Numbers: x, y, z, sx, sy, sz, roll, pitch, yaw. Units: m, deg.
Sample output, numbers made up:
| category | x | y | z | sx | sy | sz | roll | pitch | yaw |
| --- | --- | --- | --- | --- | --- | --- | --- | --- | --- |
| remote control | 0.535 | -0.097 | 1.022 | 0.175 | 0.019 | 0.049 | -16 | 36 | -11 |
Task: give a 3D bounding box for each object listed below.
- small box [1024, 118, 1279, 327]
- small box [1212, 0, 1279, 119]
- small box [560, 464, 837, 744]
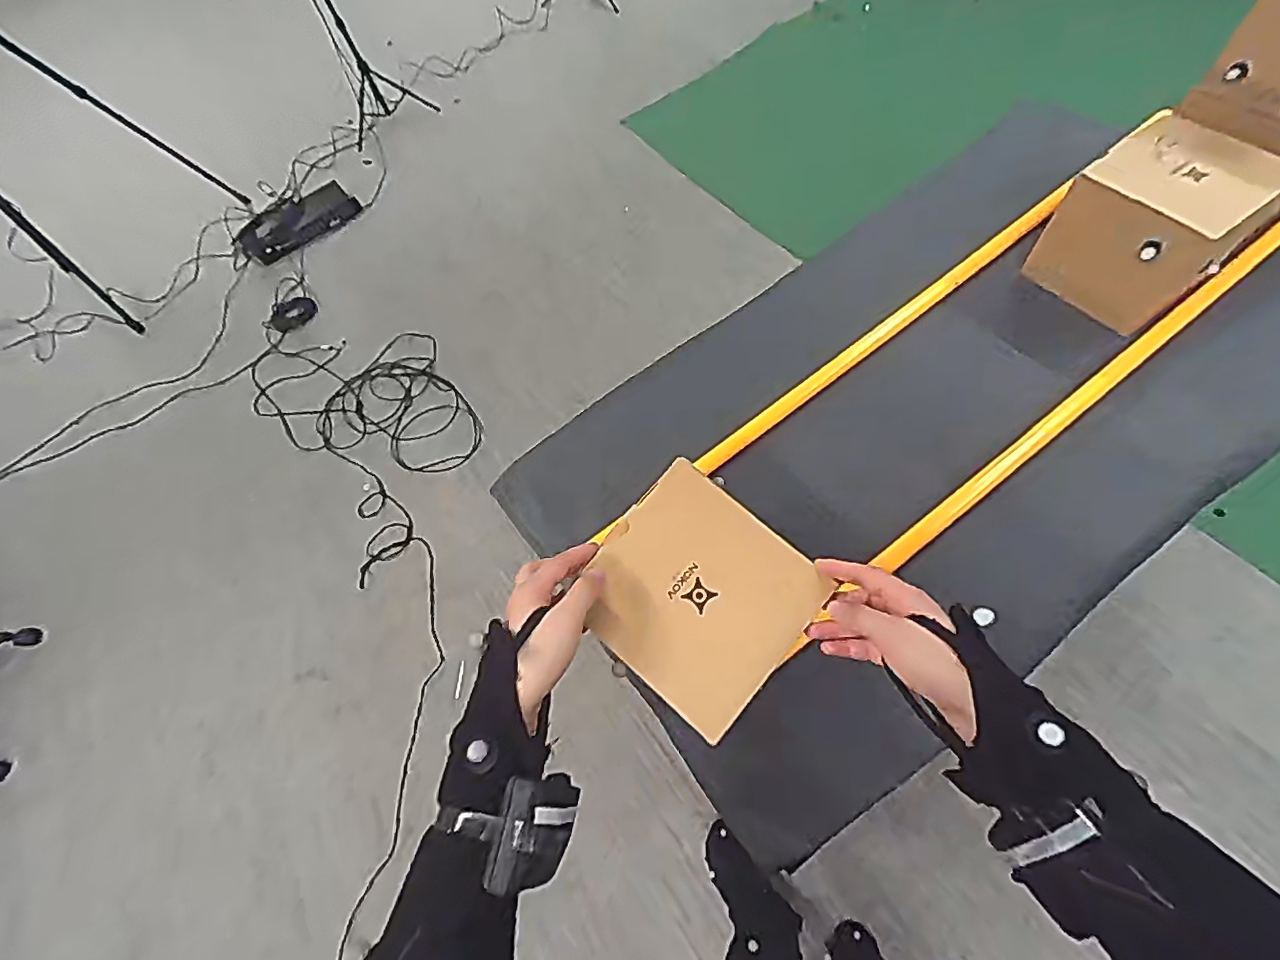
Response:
| category | x | y | z | sx | sy | sz | roll | pitch | yaw |
| --- | --- | --- | --- | --- | --- | --- | --- | --- | --- |
| small box | 0.686 | -0.337 | 0.735 | 0.168 | 0.176 | 0.179 | -34 | 63 | -8 |
| small box | 0.842 | -0.544 | 0.624 | 0.179 | 0.176 | 0.168 | -32 | 63 | -7 |
| small box | 0.054 | 0.116 | 0.530 | 0.179 | 0.176 | 0.168 | 39 | 81 | 13 |
